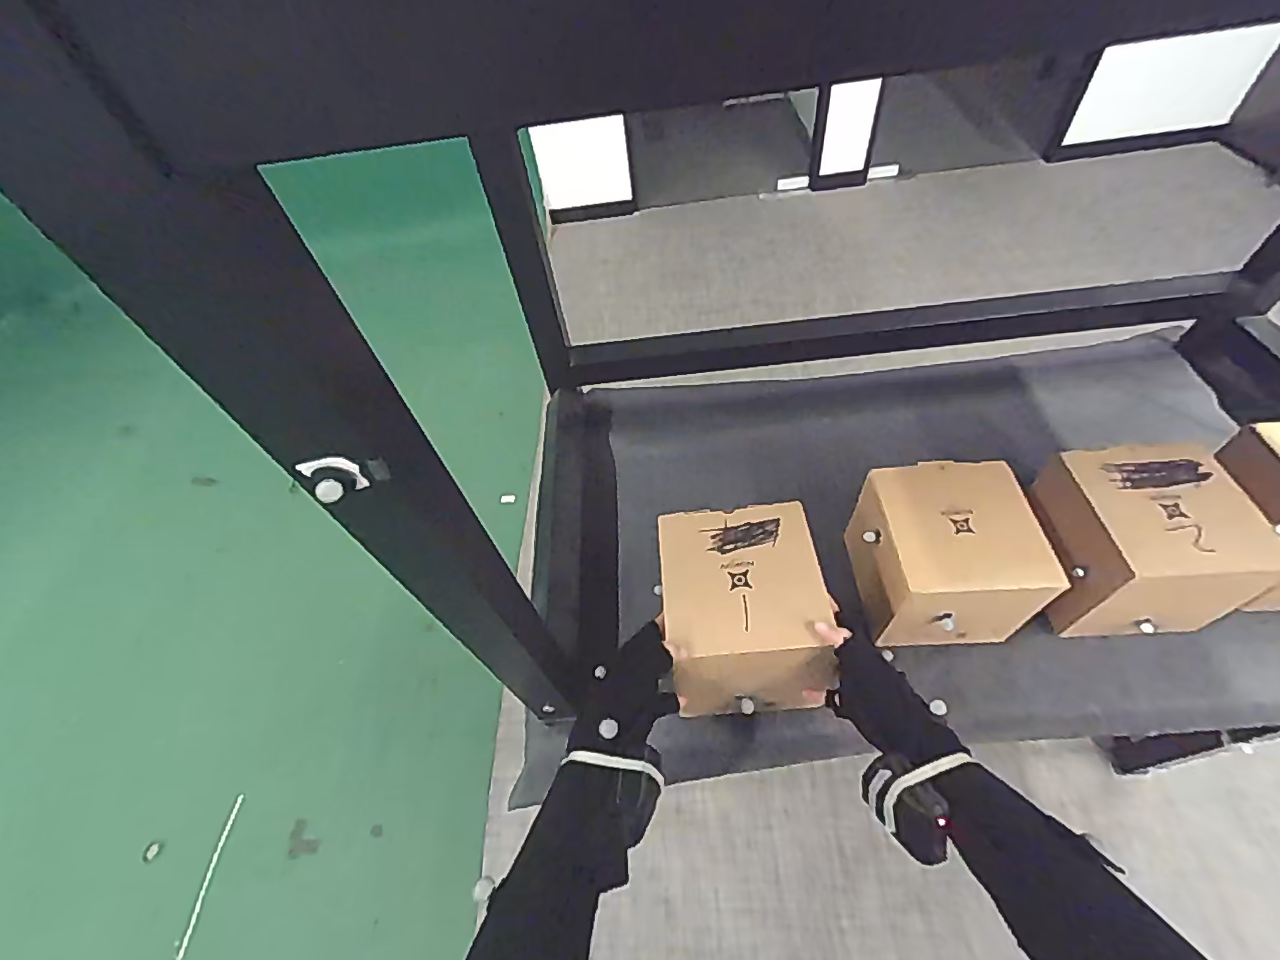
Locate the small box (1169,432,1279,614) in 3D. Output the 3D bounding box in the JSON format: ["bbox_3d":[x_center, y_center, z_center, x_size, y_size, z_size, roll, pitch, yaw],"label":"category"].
[{"bbox_3d":[0.828,0.057,0.662,0.168,0.176,0.179,-2,51,6],"label":"small box"}]

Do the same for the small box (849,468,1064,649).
[{"bbox_3d":[0.380,0.108,0.691,0.168,0.176,0.179,-4,52,6],"label":"small box"}]

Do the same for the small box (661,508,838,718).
[{"bbox_3d":[0.114,0.156,0.626,0.168,0.176,0.179,-6,49,5],"label":"small box"}]
